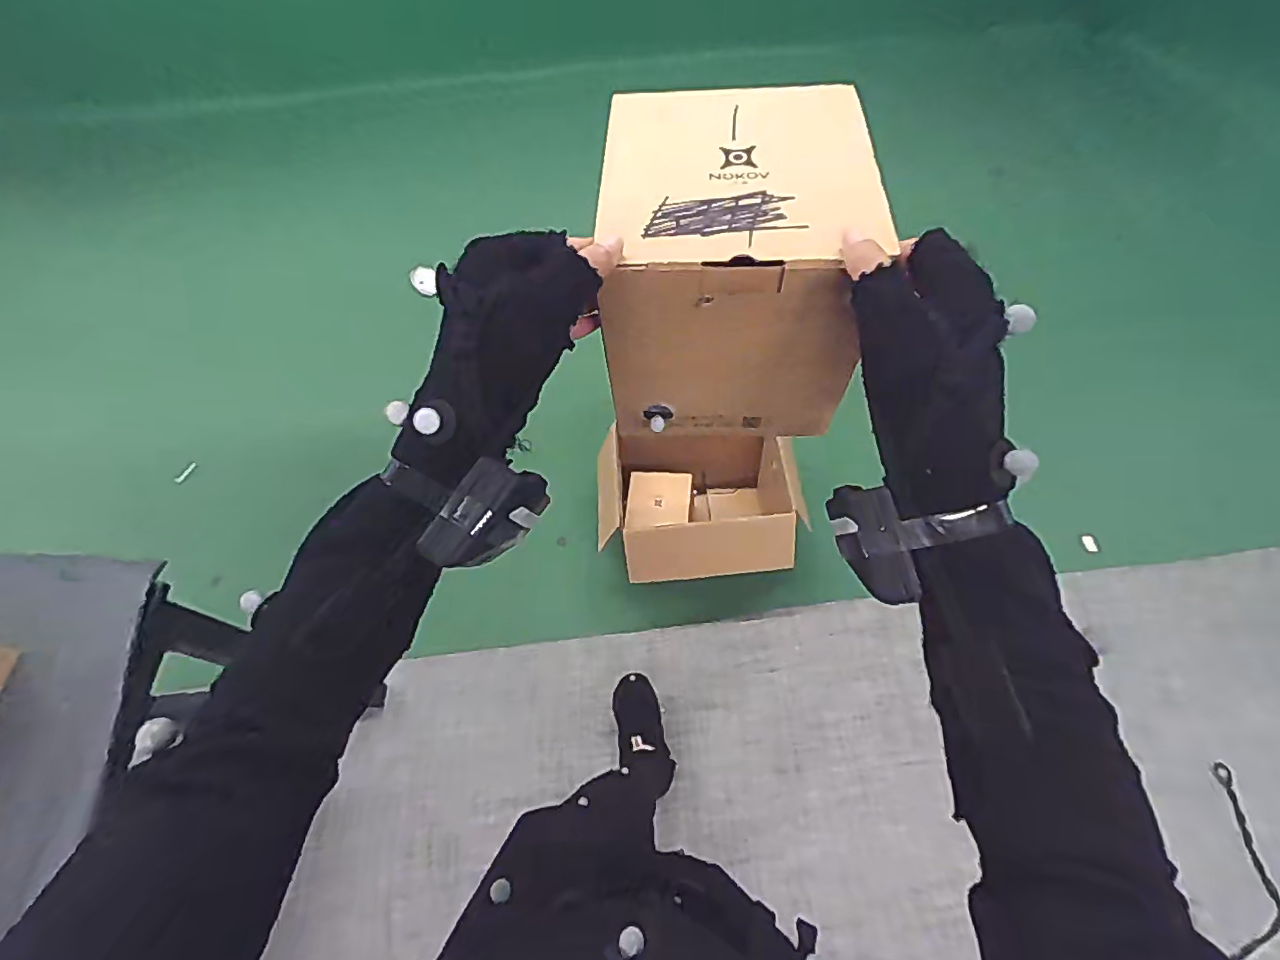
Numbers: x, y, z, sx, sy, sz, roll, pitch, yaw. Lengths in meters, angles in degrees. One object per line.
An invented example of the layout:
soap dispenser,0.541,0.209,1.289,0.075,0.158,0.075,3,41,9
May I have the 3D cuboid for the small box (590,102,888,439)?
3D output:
small box,0.063,-0.144,0.404,0.168,0.176,0.179,1,60,4
